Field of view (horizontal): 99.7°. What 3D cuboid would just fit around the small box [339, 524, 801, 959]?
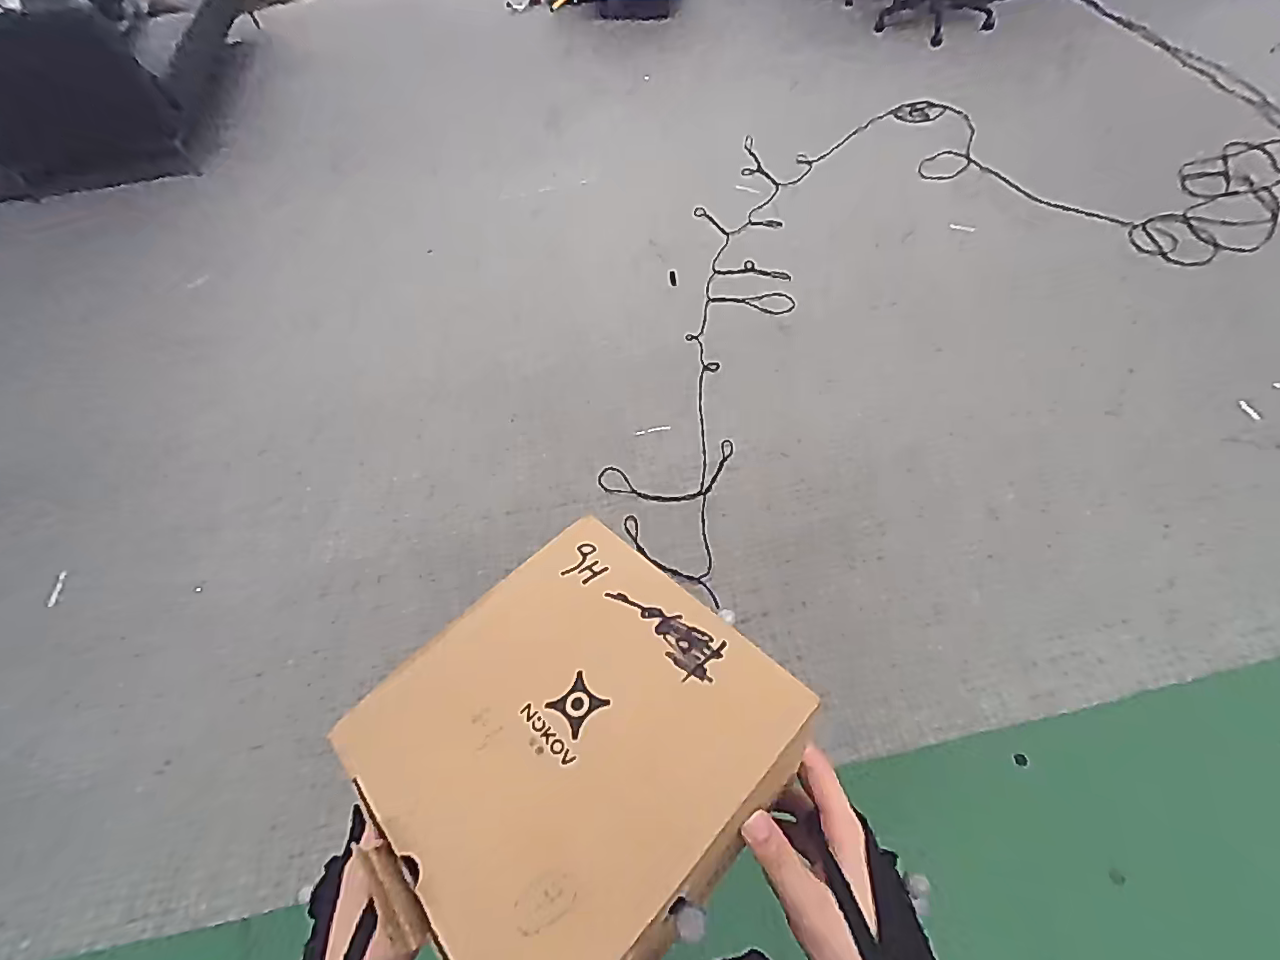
[{"bbox_3d":[-0.026,0.168,0.321,0.179,0.176,0.168,-41,55,-22],"label":"small box"}]
